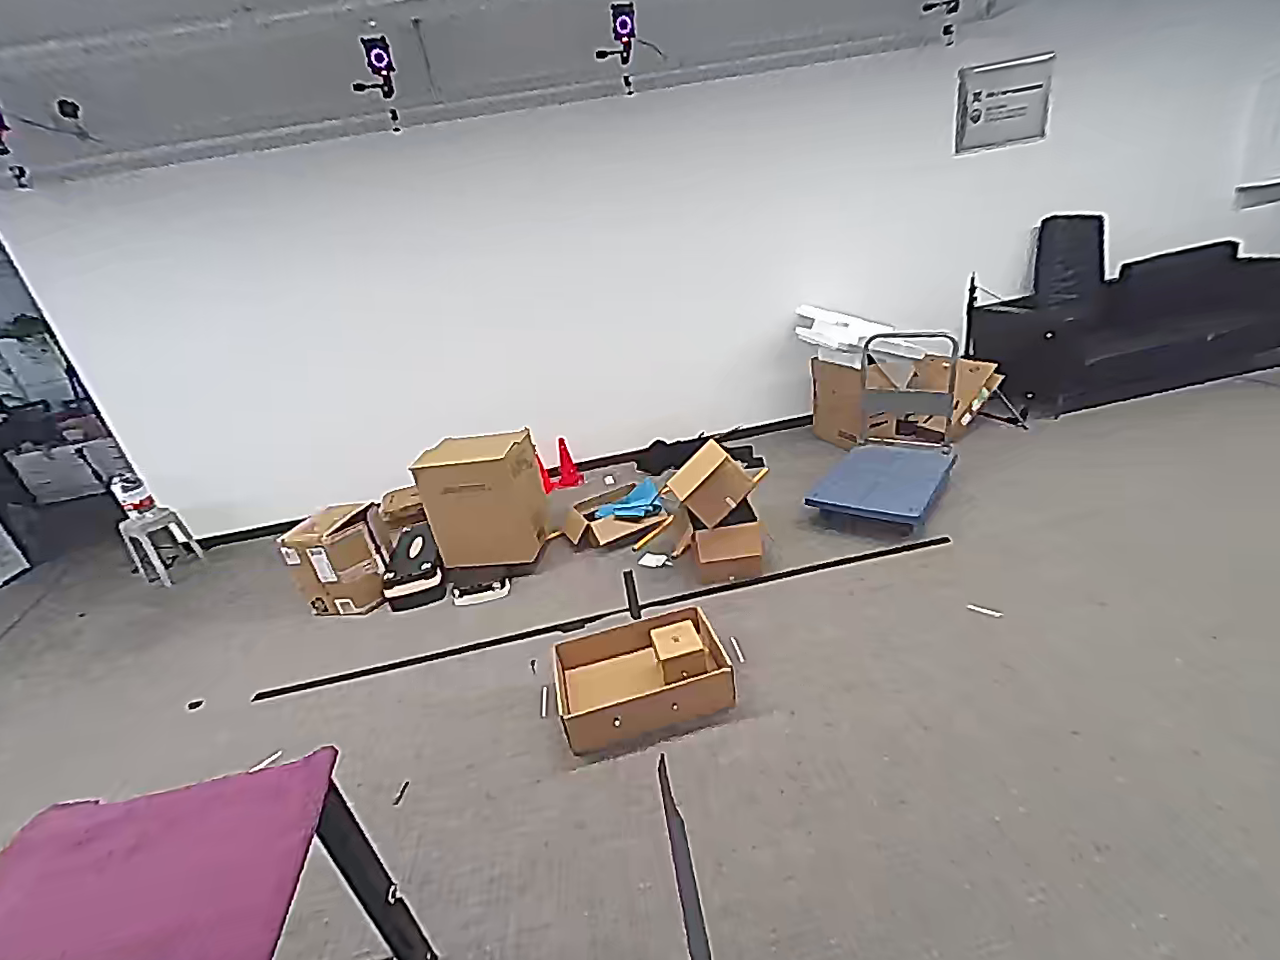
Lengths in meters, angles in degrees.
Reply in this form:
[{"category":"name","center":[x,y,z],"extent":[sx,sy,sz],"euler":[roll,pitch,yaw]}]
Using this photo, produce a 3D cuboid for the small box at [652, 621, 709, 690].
[{"category":"small box","center":[0.154,0.671,2.048],"extent":[0.168,0.176,0.179],"euler":[-13,22,-7]}]
